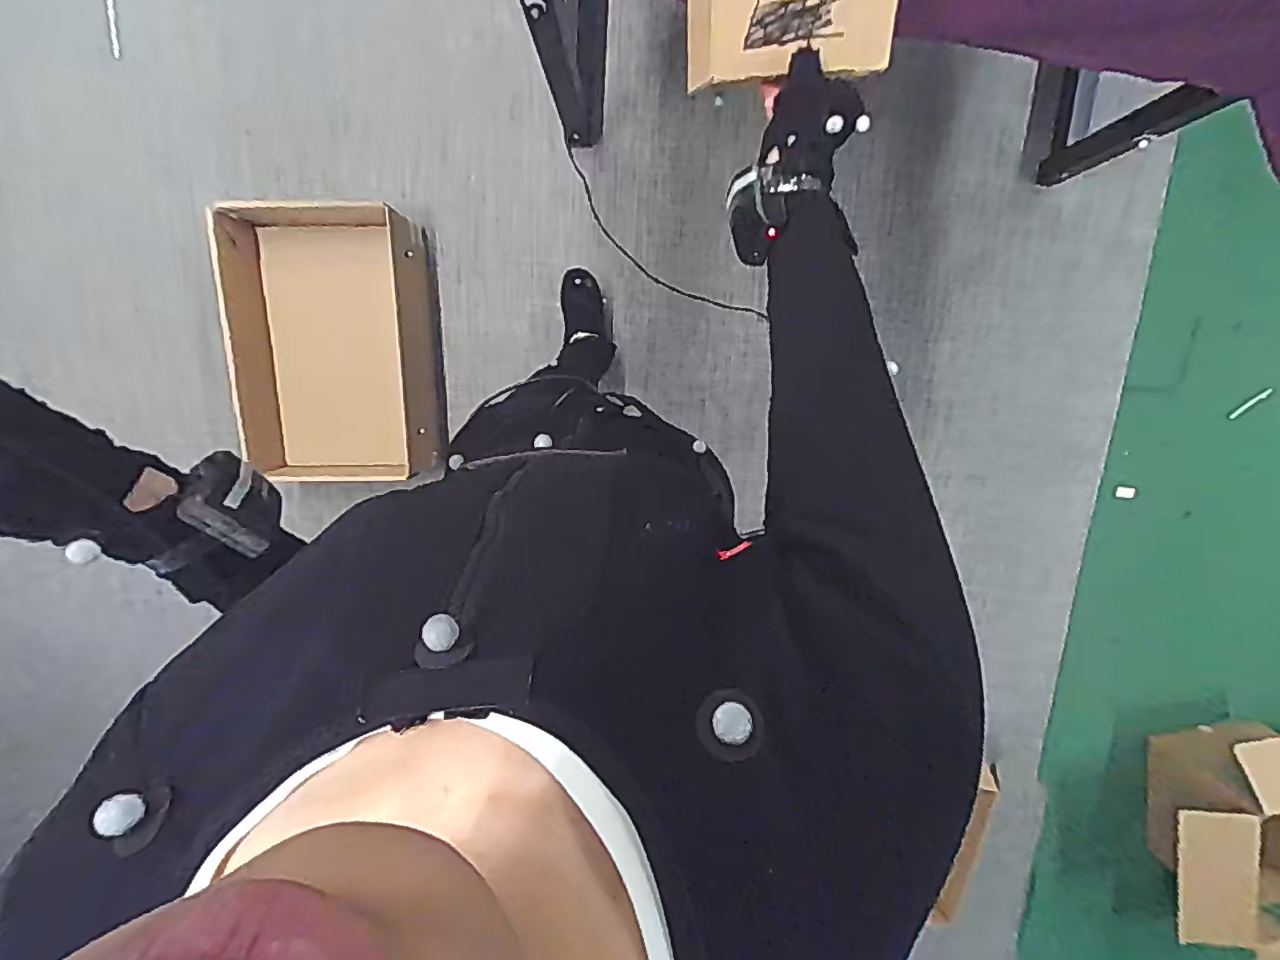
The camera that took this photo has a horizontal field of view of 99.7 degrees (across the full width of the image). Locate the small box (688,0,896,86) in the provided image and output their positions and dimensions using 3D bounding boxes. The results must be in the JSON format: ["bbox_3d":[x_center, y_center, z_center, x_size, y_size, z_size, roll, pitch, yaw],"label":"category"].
[{"bbox_3d":[0.139,-0.494,0.521,0.168,0.176,0.179,-4,121,-1],"label":"small box"}]
